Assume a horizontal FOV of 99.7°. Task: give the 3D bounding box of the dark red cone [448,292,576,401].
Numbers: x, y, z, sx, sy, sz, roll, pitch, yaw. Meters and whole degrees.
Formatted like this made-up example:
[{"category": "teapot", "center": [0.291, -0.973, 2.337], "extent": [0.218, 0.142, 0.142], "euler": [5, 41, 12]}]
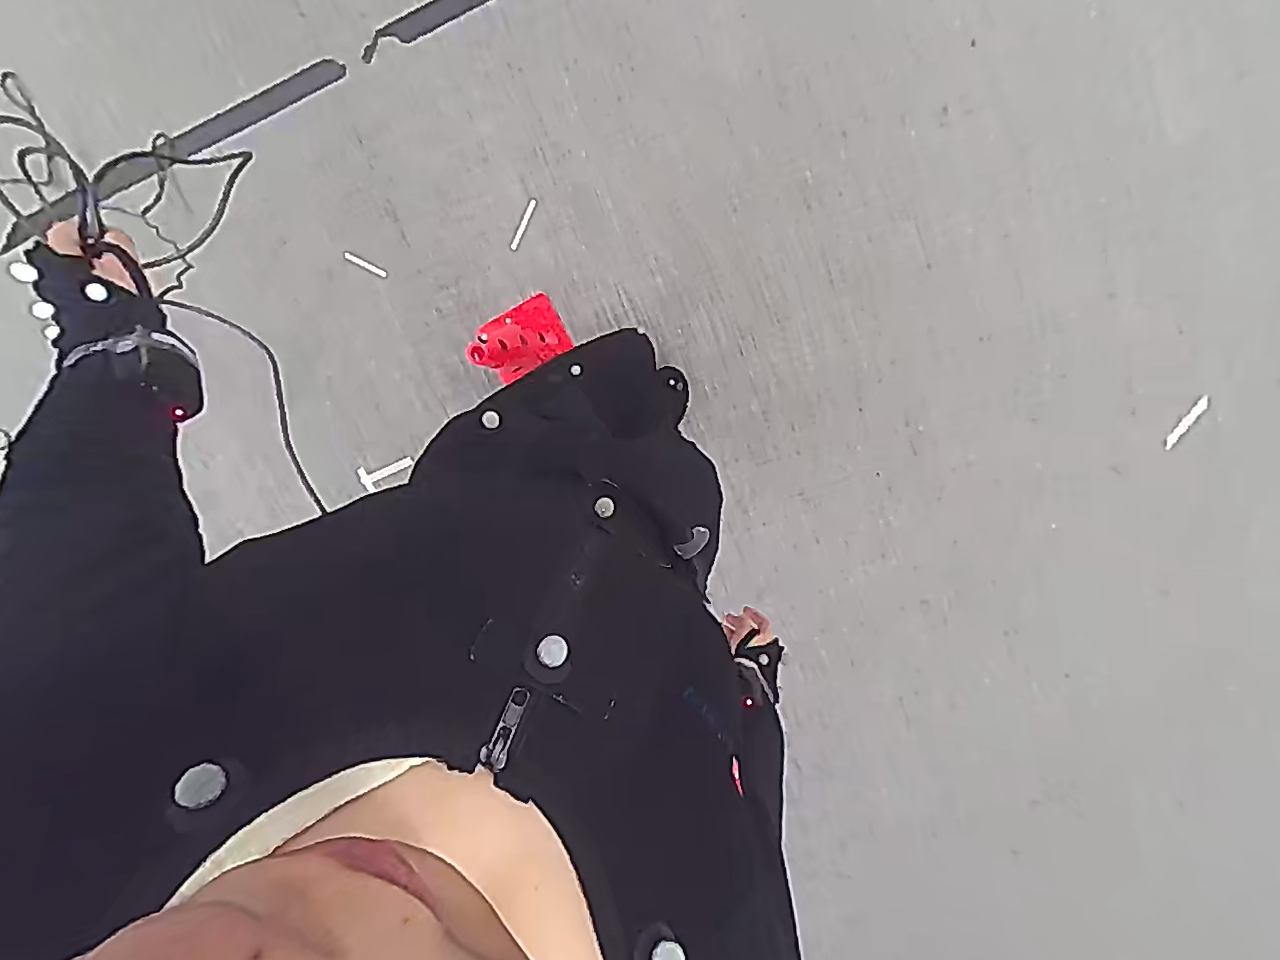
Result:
[{"category": "dark red cone", "center": [-0.287, -0.270, 1.106], "extent": [0.202, 0.394, 0.201], "euler": [-27, 100, 11]}]
